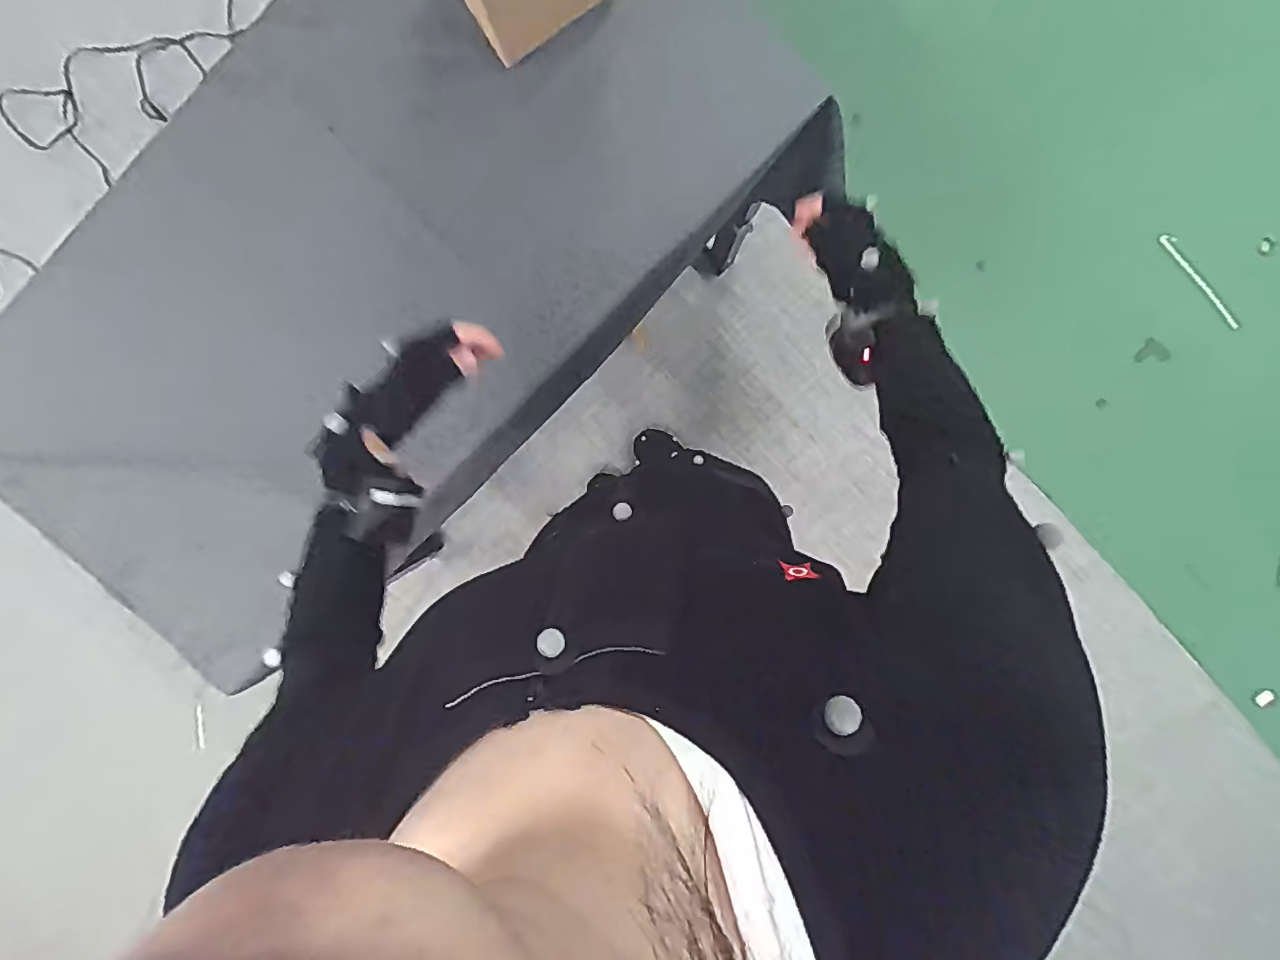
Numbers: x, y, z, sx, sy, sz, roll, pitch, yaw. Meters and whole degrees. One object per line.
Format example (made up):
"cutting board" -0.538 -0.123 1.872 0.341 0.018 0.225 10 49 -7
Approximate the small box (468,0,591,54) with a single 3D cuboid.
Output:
"small box" -0.150 -0.649 0.613 0.179 0.176 0.168 -32 95 4
